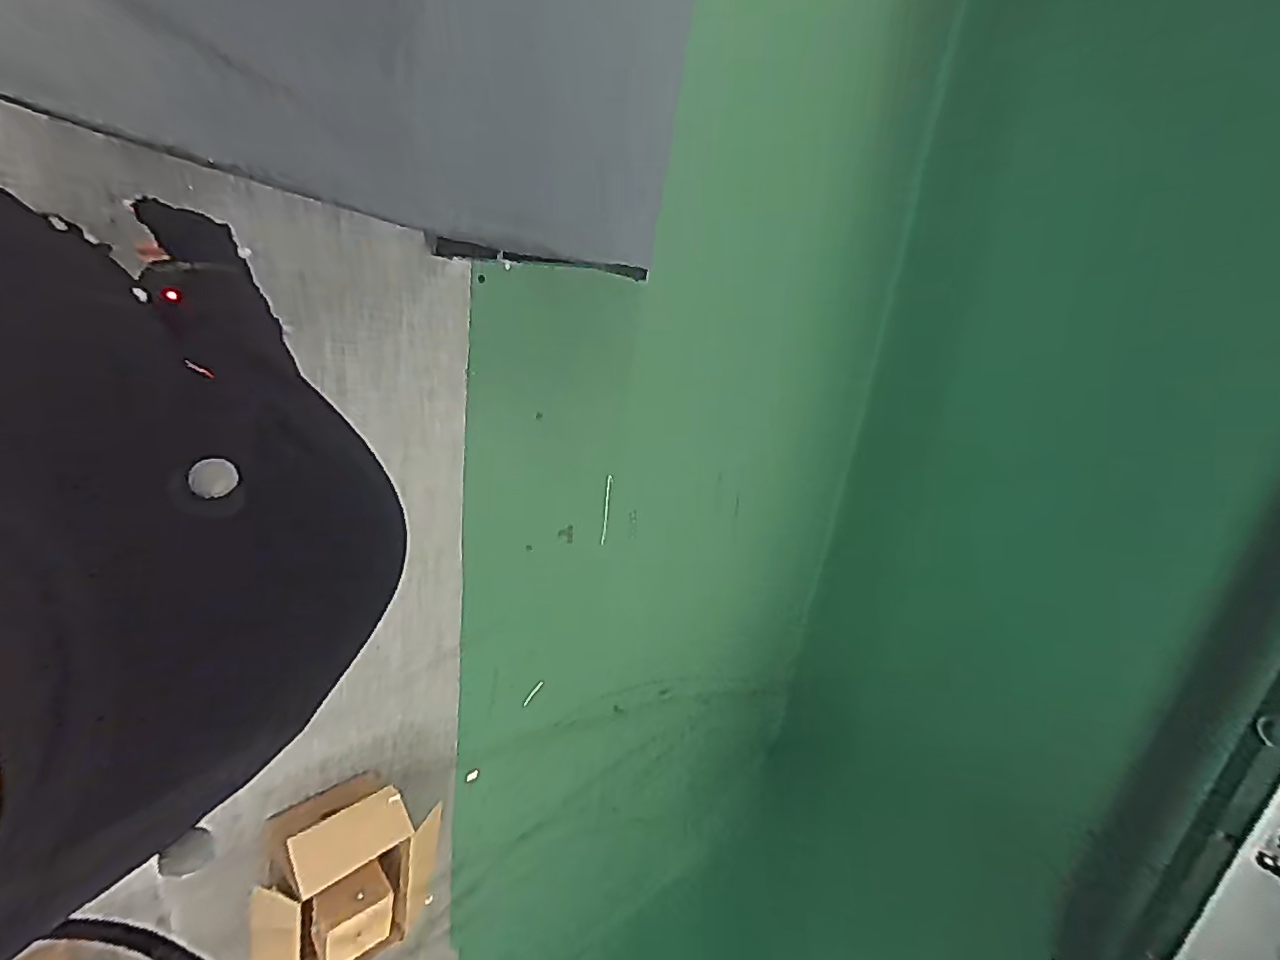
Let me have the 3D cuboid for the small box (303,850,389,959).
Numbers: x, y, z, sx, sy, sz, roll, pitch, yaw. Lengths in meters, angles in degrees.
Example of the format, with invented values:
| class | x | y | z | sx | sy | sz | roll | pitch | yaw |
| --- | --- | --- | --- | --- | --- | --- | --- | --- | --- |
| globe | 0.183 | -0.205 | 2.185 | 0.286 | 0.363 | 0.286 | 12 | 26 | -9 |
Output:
| class | x | y | z | sx | sy | sz | roll | pitch | yaw |
| --- | --- | --- | --- | --- | --- | --- | --- | --- | --- |
| small box | -0.851 | 1.229 | 1.558 | 0.179 | 0.176 | 0.168 | -5 | 111 | -47 |
